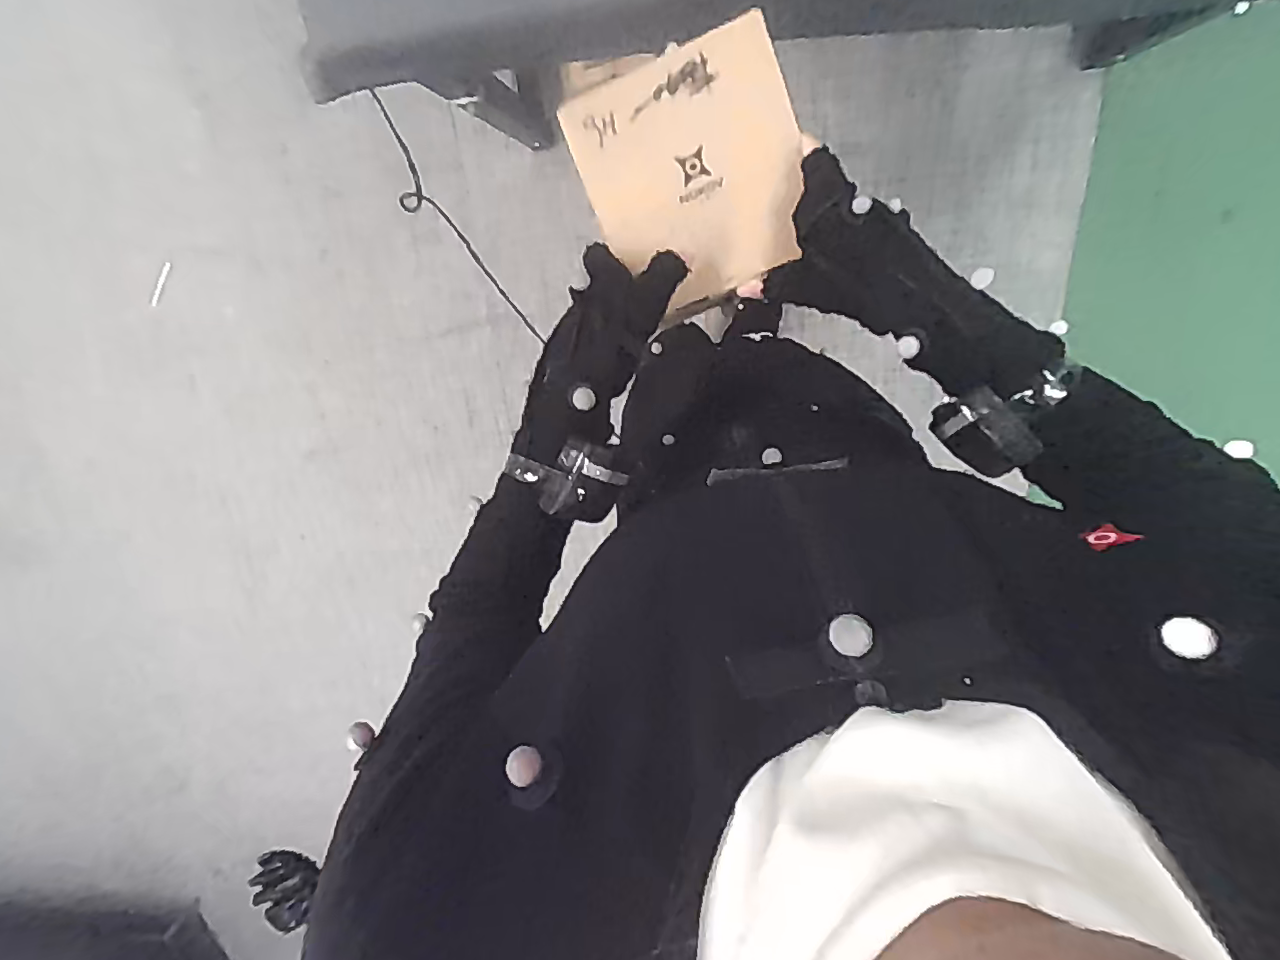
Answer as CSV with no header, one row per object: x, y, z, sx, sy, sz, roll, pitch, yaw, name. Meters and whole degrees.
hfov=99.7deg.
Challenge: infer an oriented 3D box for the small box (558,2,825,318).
0.047,-0.261,0.494,0.168,0.176,0.179,-20,103,8,small box
